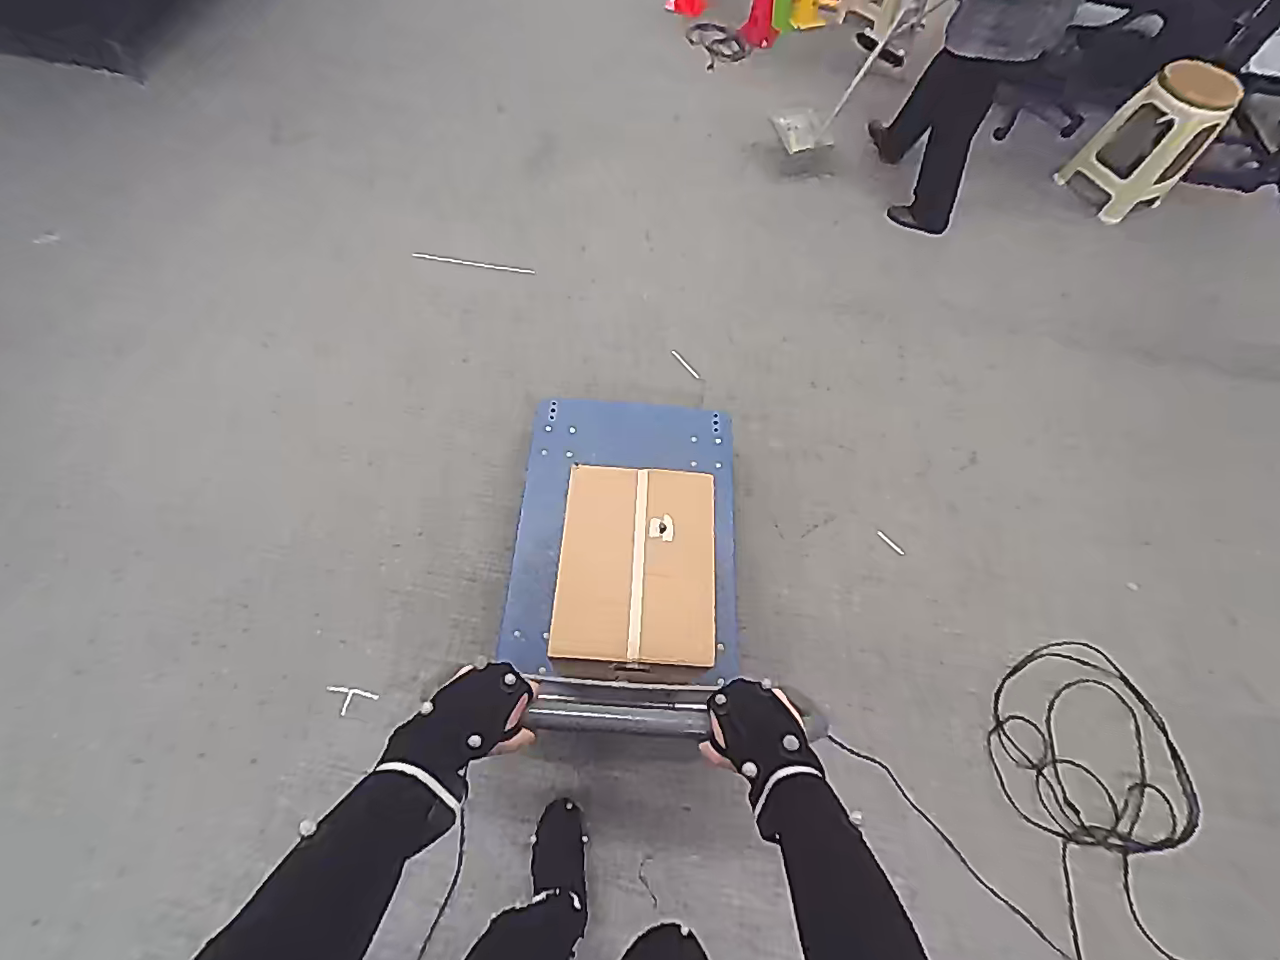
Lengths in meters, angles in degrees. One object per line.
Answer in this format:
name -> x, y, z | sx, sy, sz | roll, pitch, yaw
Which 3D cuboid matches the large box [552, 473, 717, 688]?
large box -> -0.011, 0.239, 1.222 | 0.320, 0.320, 0.408 | 4, 62, -2
